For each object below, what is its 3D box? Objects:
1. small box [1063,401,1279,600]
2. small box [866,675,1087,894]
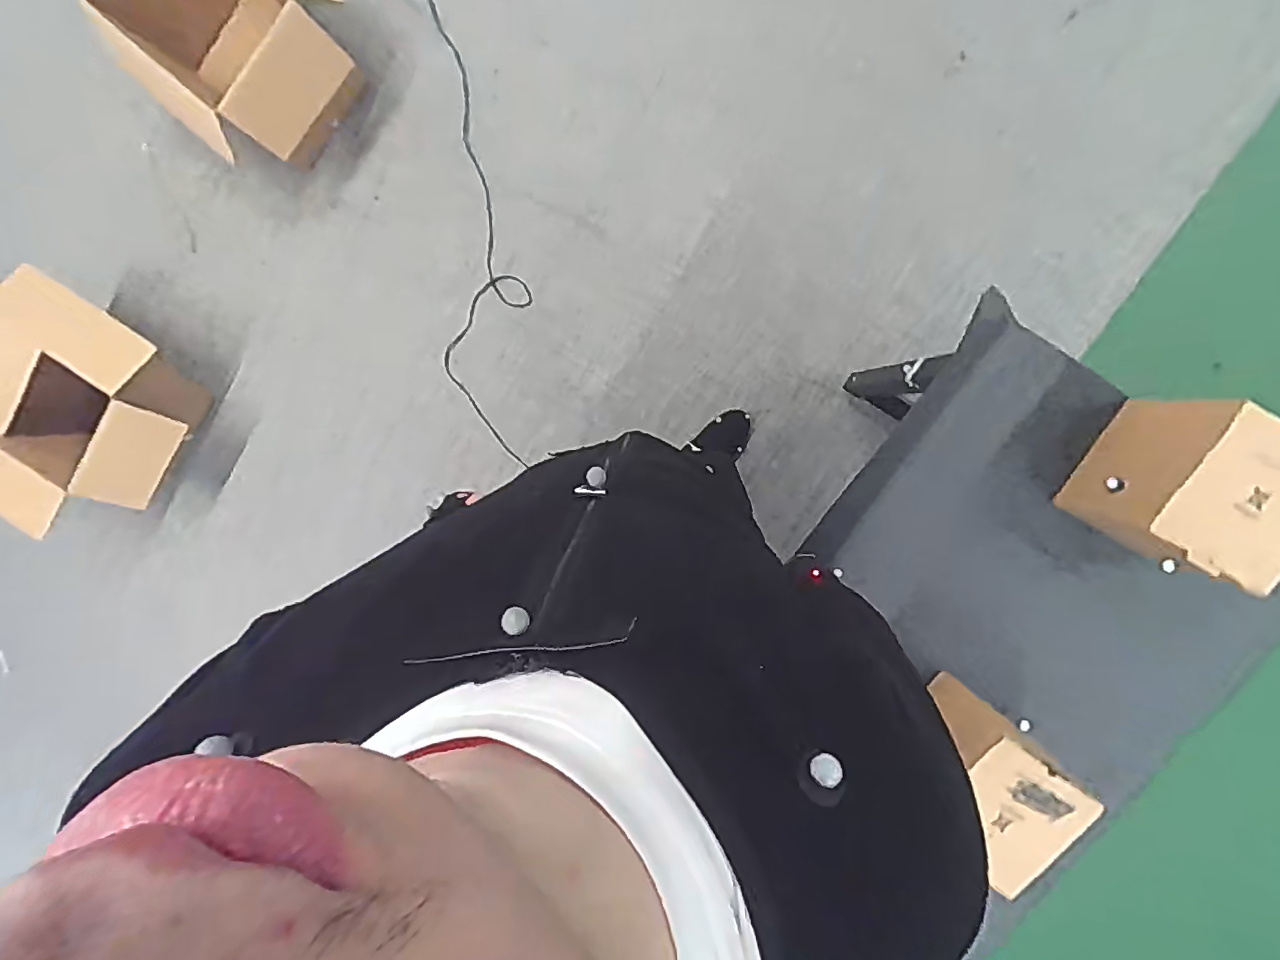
[{"bbox_3d":[0.696,0.016,0.687,0.168,0.176,0.179,30,99,-1],"label":"small box"},{"bbox_3d":[0.462,0.420,0.777,0.168,0.176,0.179,40,99,0],"label":"small box"}]
